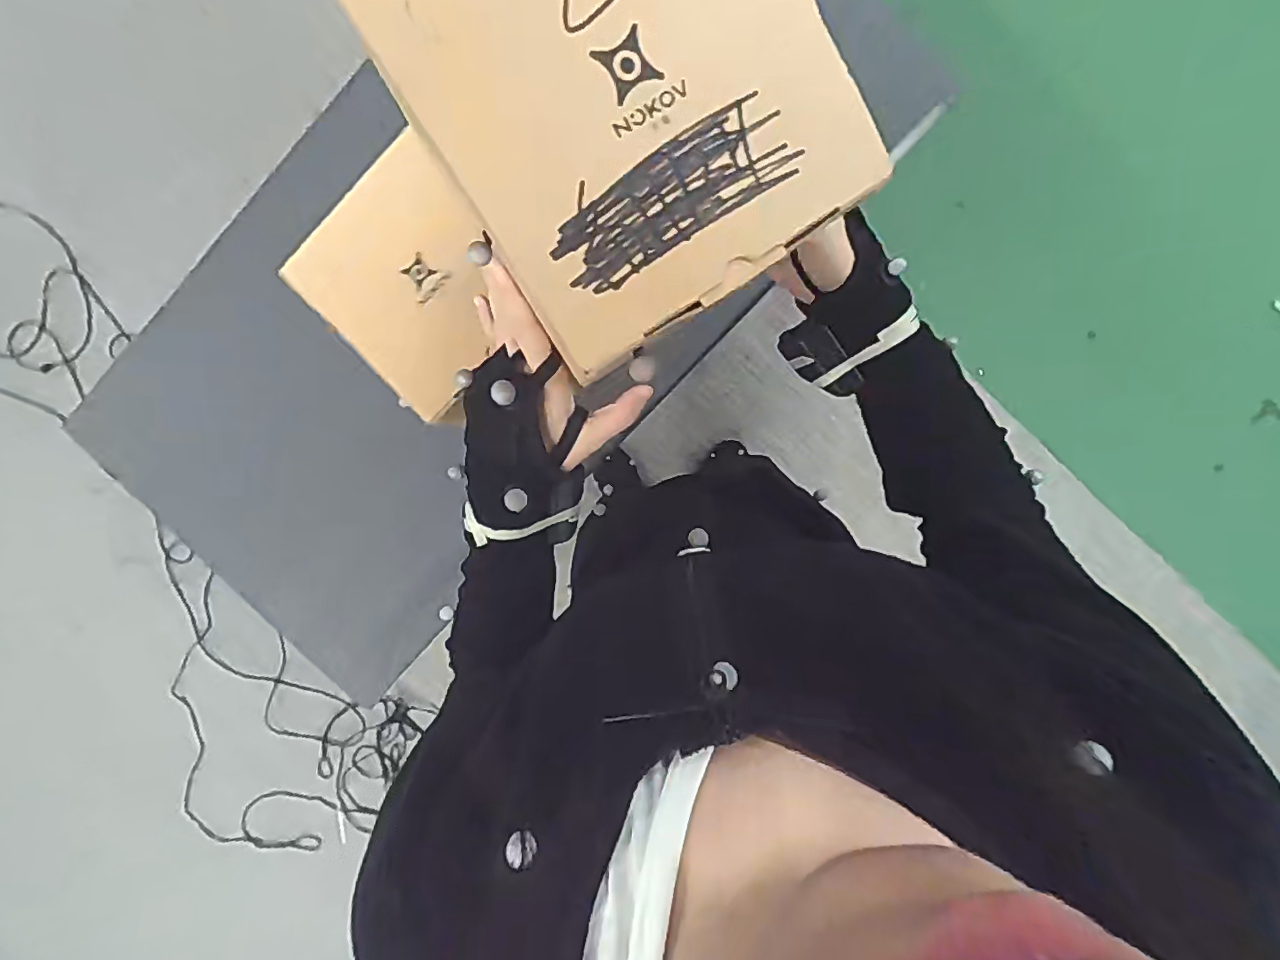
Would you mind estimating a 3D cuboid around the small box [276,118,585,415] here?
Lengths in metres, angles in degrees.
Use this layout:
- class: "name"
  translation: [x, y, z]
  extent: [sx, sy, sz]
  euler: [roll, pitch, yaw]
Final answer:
- class: "small box"
  translation: [-0.174, -0.173, 0.509]
  extent: [0.168, 0.176, 0.179]
  euler: [-44, 92, 5]
